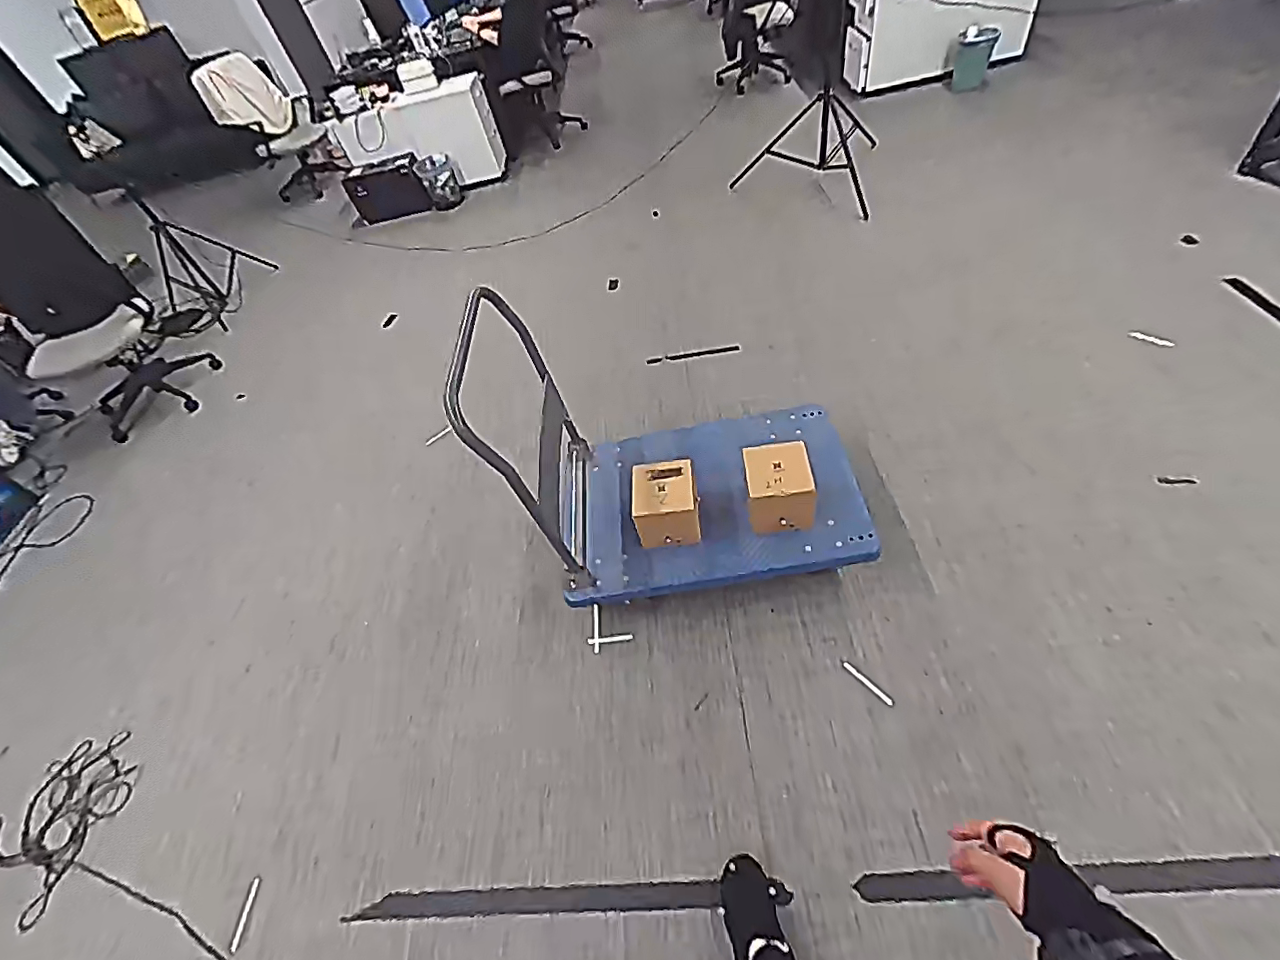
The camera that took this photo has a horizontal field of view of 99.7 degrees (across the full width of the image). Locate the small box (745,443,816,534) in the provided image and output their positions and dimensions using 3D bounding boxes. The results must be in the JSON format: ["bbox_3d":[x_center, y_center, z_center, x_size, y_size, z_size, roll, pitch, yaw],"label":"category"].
[{"bbox_3d":[0.380,0.026,1.482,0.168,0.176,0.179,-7,50,9],"label":"small box"}]
